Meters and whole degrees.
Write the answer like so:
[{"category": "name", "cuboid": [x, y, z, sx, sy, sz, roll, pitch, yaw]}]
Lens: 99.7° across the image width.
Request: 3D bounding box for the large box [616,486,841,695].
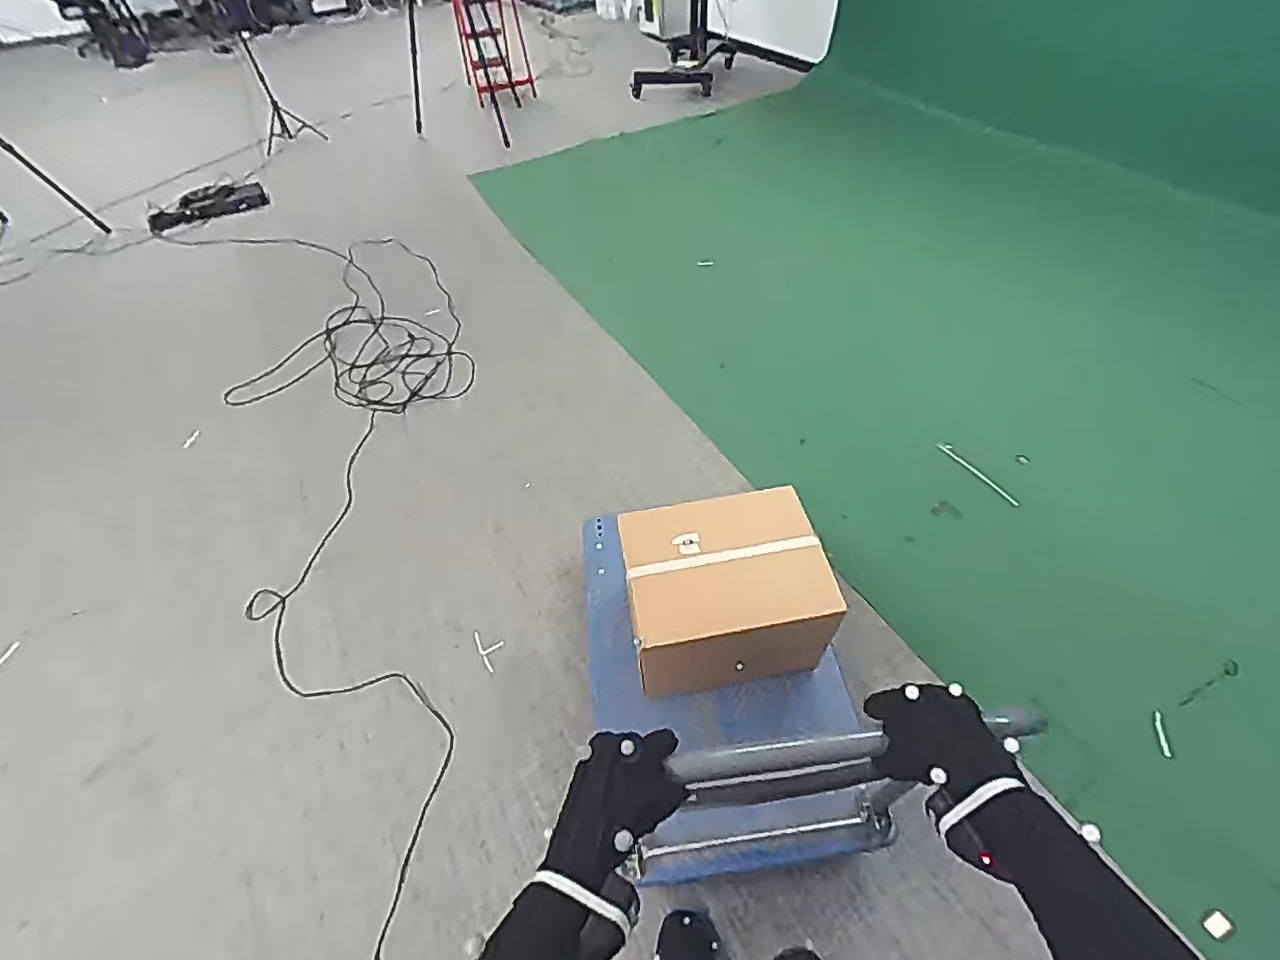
[{"category": "large box", "cuboid": [0.178, 0.257, 1.233, 0.408, 0.320, 0.320, -10, 51, -4]}]
